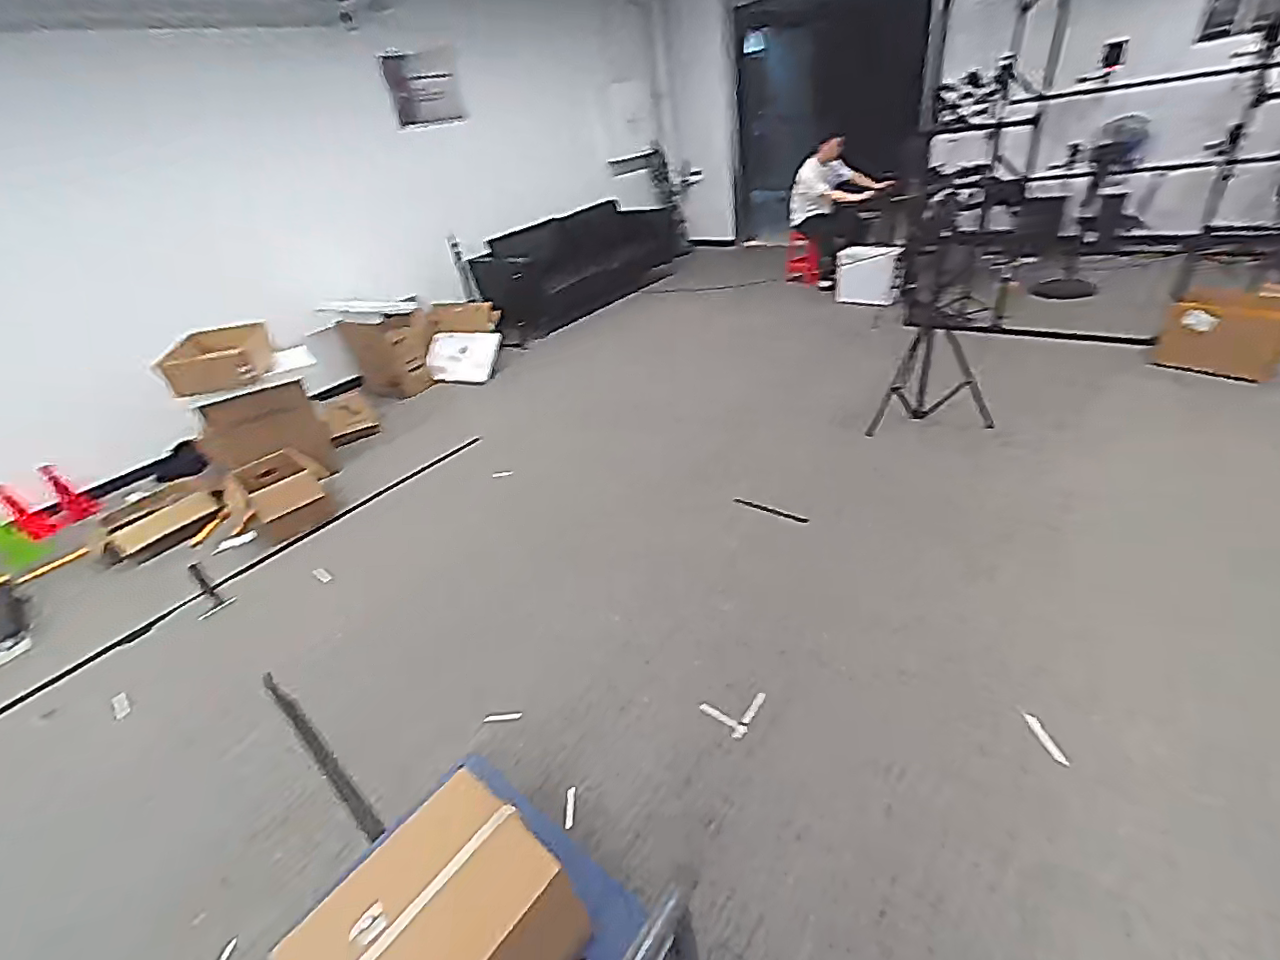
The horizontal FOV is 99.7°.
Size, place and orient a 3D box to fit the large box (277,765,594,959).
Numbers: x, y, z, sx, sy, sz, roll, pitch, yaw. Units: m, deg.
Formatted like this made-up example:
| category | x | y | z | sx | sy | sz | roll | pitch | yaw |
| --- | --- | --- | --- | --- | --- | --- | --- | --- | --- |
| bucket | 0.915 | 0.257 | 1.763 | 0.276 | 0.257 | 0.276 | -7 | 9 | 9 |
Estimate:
| category | x | y | z | sx | sy | sz | roll | pitch | yaw |
| --- | --- | --- | --- | --- | --- | --- | --- | --- | --- |
| large box | -0.351 | 0.857 | 1.015 | 0.320 | 0.320 | 0.408 | 19 | 44 | 38 |
